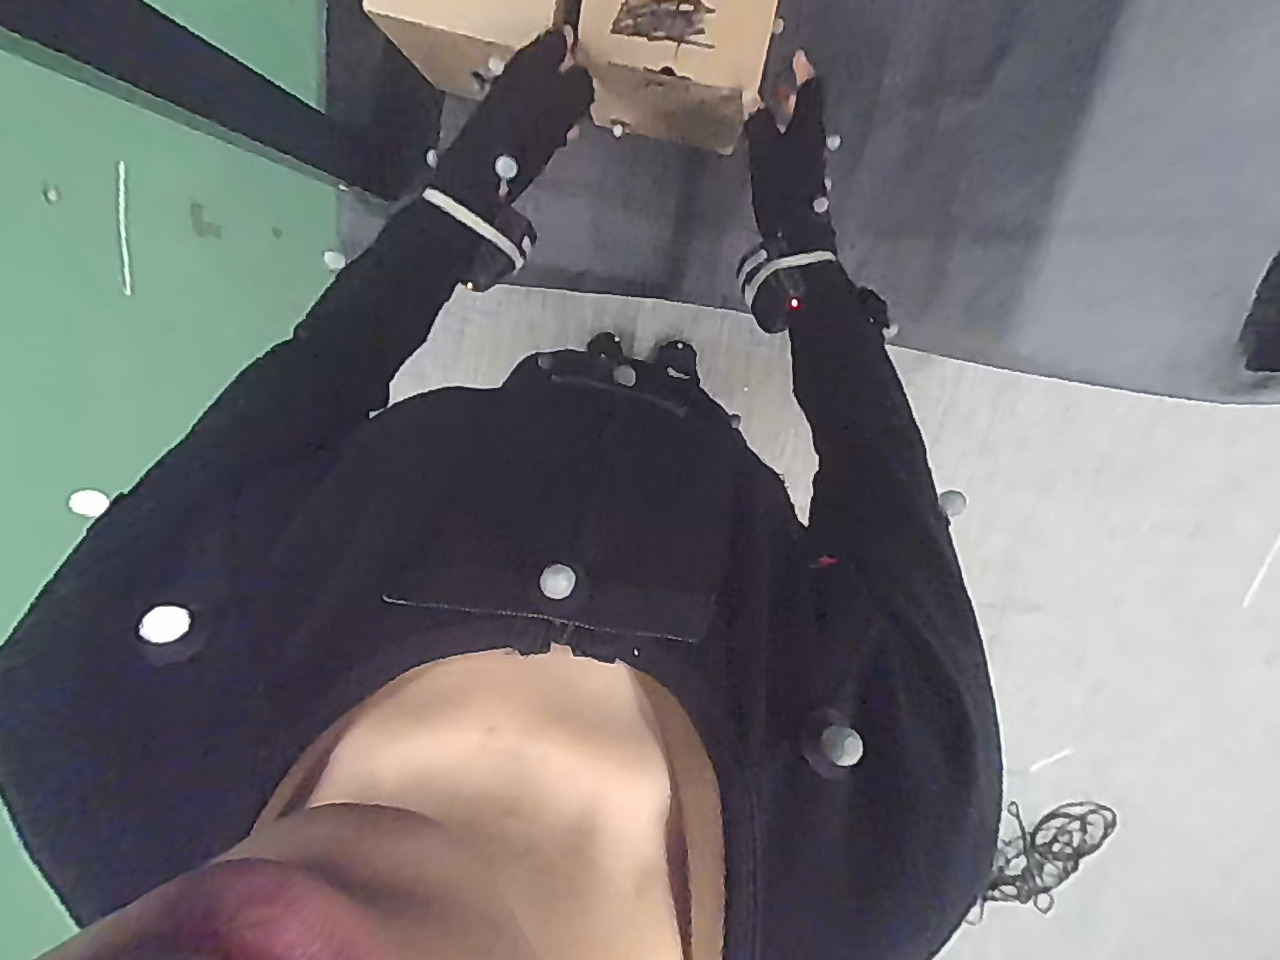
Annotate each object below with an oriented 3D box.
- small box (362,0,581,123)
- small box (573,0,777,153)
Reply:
[{"bbox_3d":[-0.139,-0.480,0.520,0.168,0.176,0.179,13,105,-3],"label":"small box"},{"bbox_3d":[0.041,-0.448,0.524,0.168,0.176,0.179,11,105,-2],"label":"small box"}]
